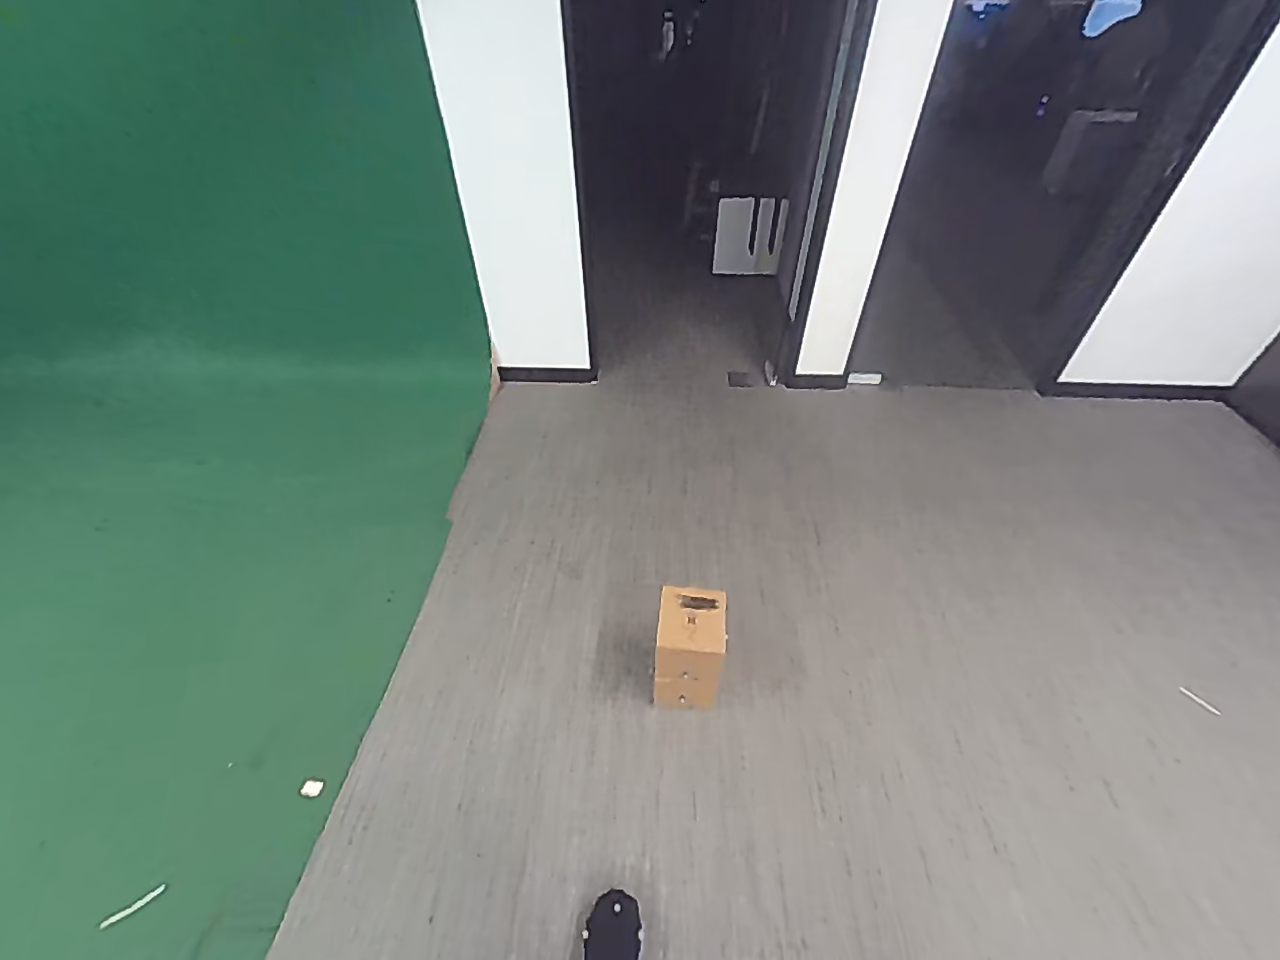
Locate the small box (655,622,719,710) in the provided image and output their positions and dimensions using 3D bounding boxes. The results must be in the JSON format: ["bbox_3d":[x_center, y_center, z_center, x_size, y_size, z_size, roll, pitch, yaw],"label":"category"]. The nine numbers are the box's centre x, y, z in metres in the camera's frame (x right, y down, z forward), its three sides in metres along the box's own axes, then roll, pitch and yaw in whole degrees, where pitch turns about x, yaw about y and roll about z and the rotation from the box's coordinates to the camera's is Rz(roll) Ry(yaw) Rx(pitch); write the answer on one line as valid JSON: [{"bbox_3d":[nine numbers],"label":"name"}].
[{"bbox_3d":[0.131,0.517,1.498,0.168,0.176,0.179,3,45,4],"label":"small box"}]
